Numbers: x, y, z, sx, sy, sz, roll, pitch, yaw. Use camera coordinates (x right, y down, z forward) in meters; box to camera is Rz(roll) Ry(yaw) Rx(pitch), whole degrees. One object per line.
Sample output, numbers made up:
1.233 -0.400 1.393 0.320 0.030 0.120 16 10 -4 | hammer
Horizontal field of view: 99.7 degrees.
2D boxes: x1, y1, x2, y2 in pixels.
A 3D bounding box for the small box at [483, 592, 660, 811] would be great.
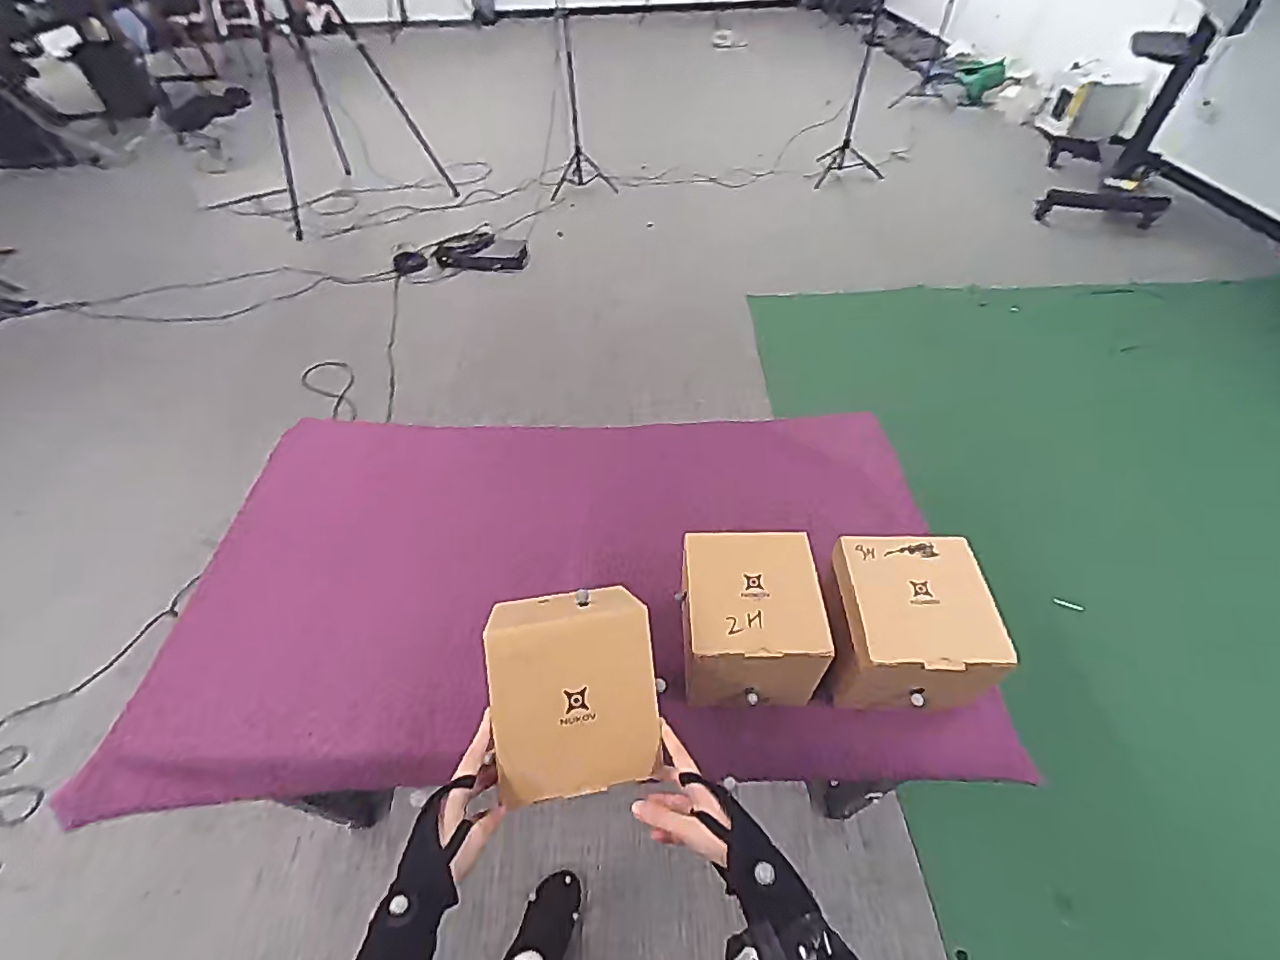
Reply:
-0.082 0.229 0.613 0.168 0.176 0.179 -6 89 -11 | small box
